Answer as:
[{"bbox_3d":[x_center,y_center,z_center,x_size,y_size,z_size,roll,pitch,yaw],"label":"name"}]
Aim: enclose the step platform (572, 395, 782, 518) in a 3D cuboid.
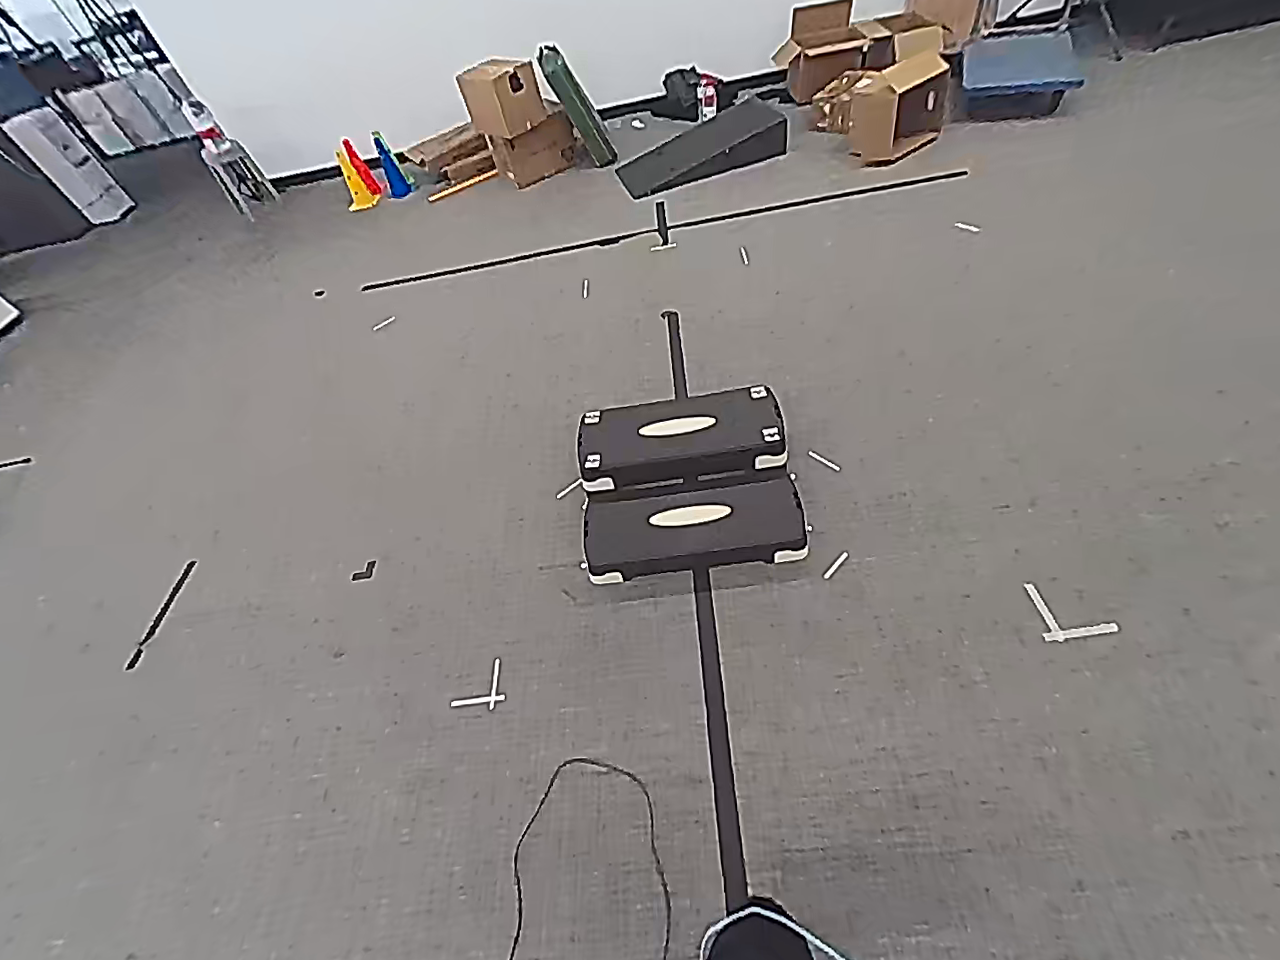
[{"bbox_3d":[0.117,-0.082,1.800,0.684,0.204,0.286,-8,51,5],"label":"step platform"}]
